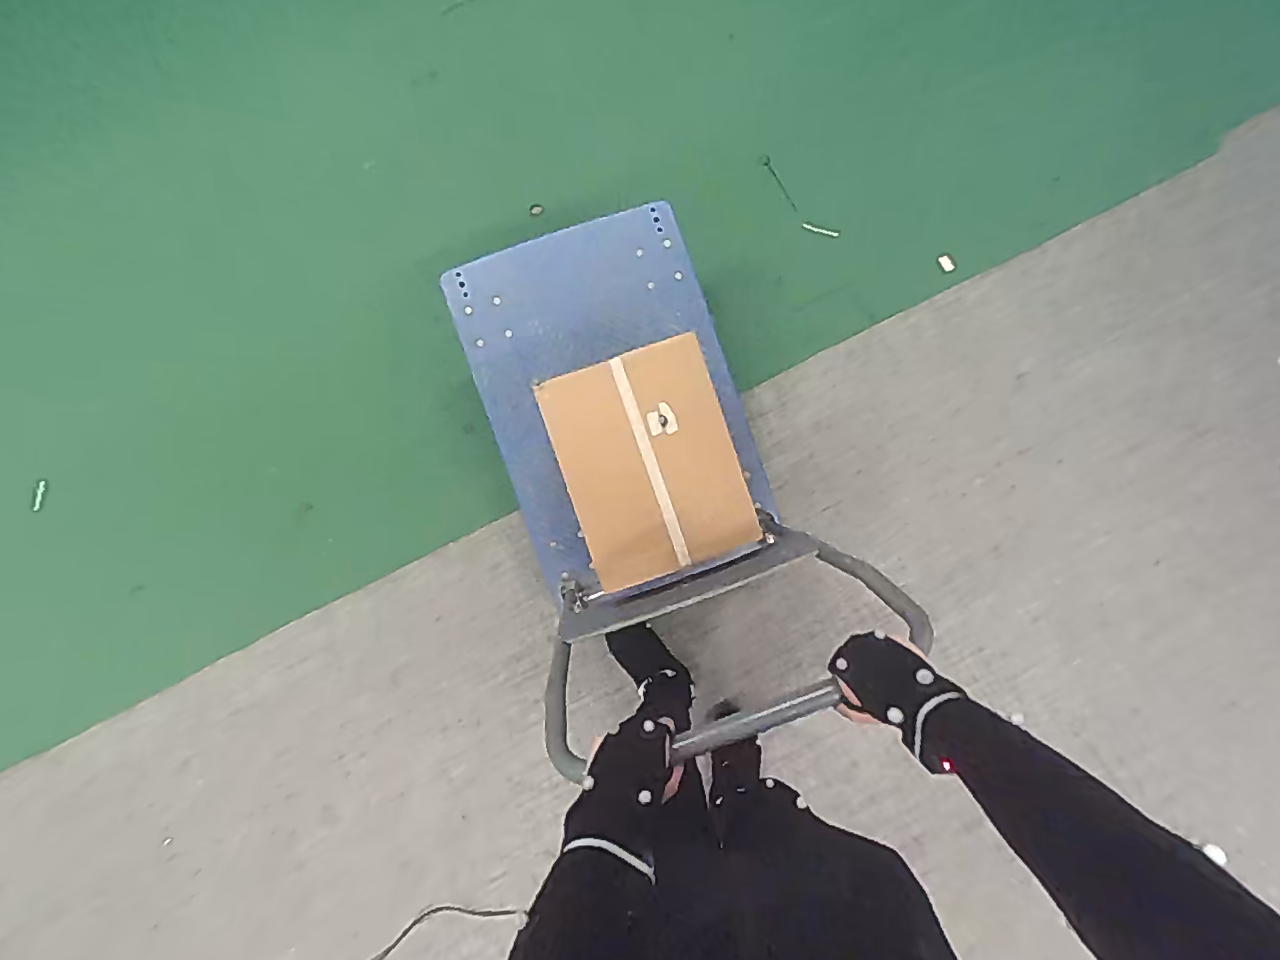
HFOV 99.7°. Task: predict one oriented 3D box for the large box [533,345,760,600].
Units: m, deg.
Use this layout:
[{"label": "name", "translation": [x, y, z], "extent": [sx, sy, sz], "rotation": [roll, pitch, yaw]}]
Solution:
[{"label": "large box", "translation": [0.012, -0.016, 1.138], "extent": [0.320, 0.320, 0.408], "rotation": [-19, 92, -2]}]
